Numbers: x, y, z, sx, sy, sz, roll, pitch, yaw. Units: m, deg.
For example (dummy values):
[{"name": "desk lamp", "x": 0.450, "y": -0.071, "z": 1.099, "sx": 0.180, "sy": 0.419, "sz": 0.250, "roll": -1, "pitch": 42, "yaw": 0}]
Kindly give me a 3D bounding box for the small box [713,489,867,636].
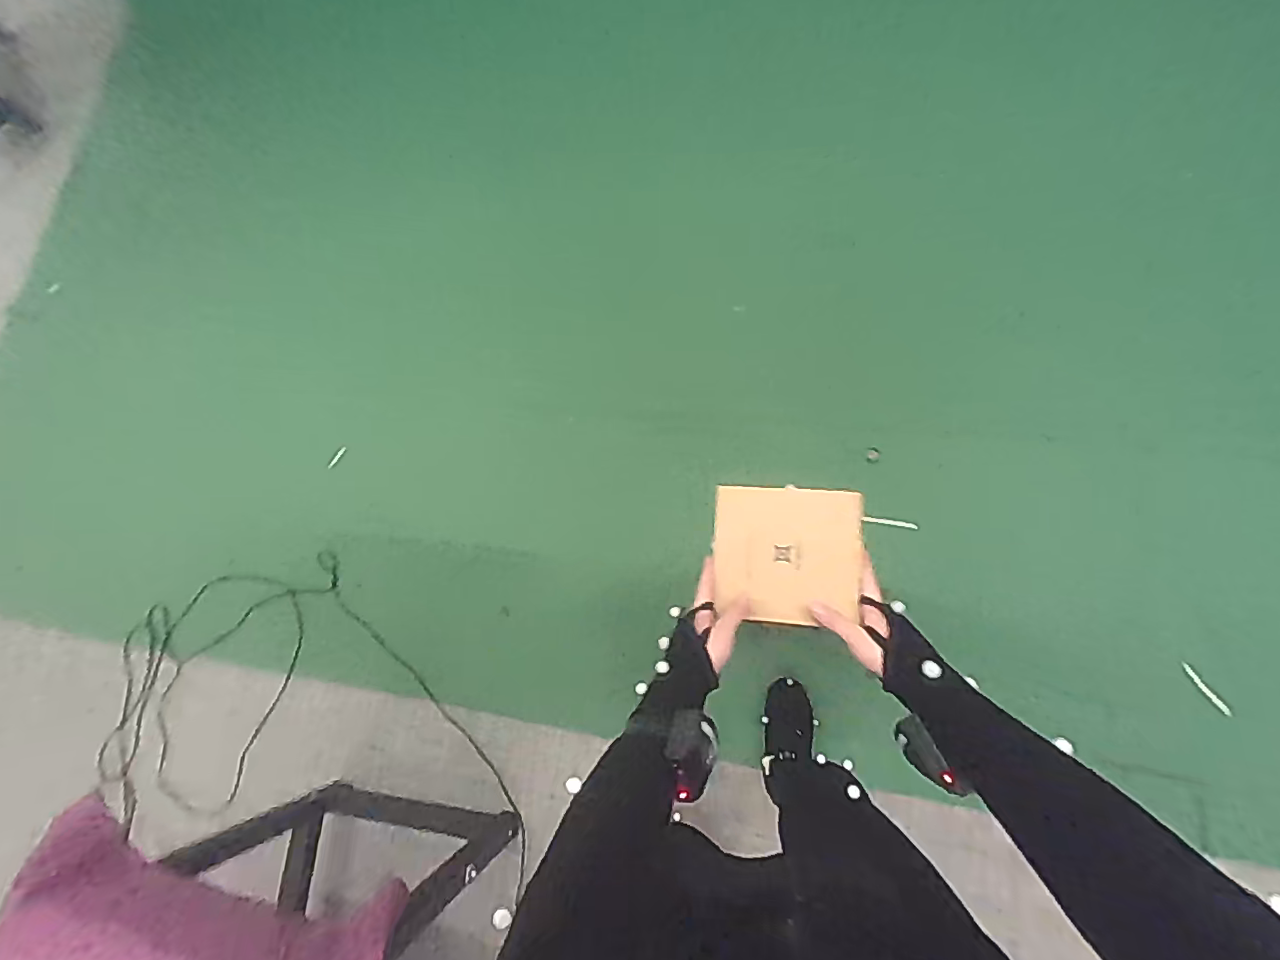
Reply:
[{"name": "small box", "x": 0.198, "y": 0.113, "z": 0.730, "sx": 0.179, "sy": 0.176, "sz": 0.168, "roll": 3, "pitch": 77, "yaw": 14}]
